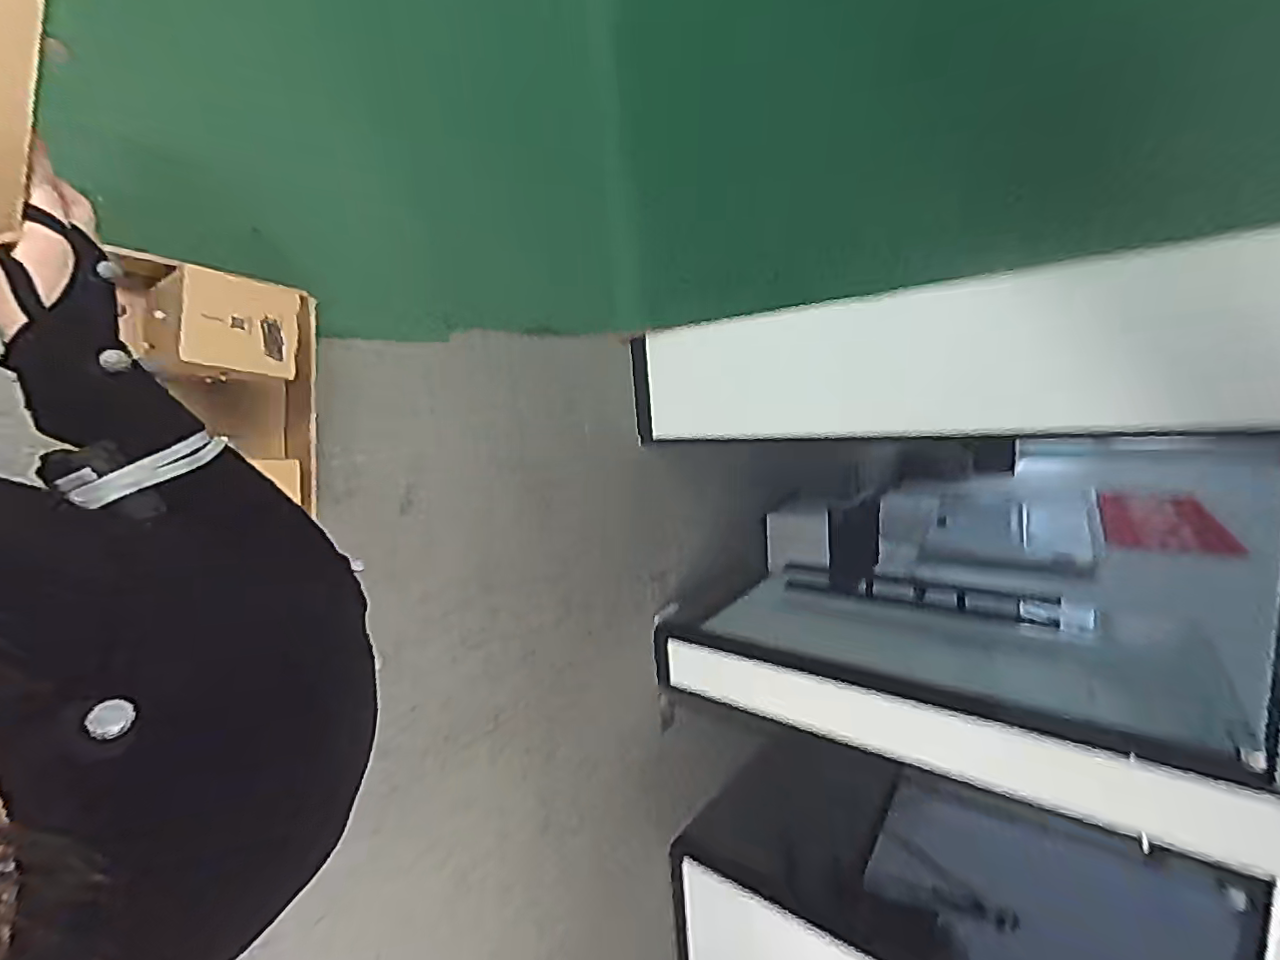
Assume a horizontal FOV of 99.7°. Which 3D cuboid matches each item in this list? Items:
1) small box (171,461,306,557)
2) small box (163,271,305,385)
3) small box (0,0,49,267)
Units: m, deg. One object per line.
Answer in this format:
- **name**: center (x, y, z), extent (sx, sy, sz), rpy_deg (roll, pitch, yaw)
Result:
- **small box**: center (-0.774, 0.047, 1.046), extent (0.179, 0.176, 0.168), rpy_deg (-3, 94, -50)
- **small box**: center (-0.772, -0.277, 1.030), extent (0.179, 0.176, 0.168), rpy_deg (4, 90, -51)
- **small box**: center (-0.469, -0.241, 0.298), extent (0.168, 0.176, 0.179), rpy_deg (2, 108, -55)
